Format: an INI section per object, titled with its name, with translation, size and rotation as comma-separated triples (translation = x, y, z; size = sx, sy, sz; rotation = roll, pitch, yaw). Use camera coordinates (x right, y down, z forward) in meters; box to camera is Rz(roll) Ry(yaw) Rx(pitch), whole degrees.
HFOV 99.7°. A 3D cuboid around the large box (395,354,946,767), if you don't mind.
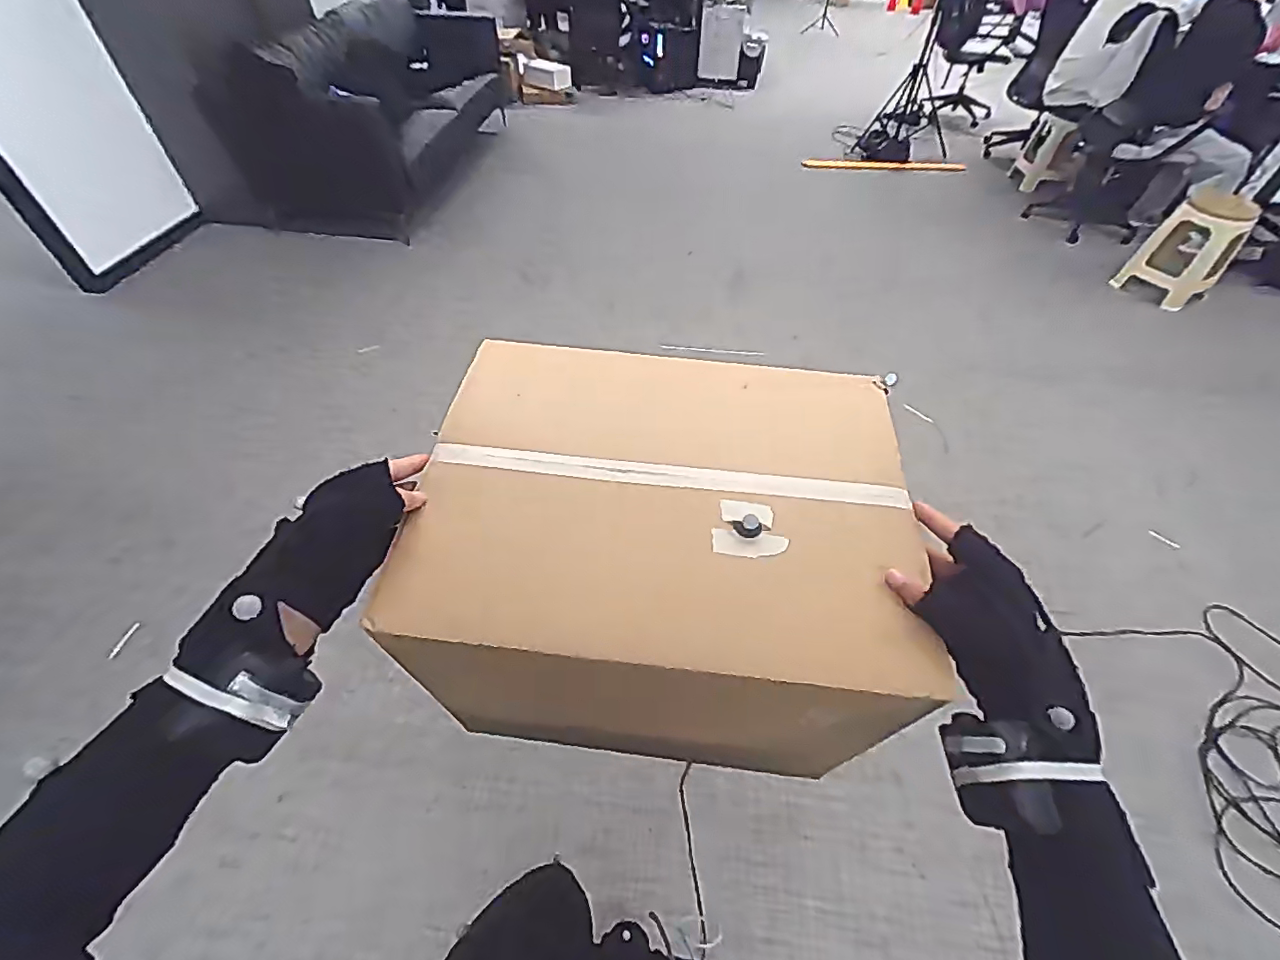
[large box]
translation = 0.025, 0.096, 0.588
size = 0.408, 0.320, 0.320
rotation = 6, 53, 2
